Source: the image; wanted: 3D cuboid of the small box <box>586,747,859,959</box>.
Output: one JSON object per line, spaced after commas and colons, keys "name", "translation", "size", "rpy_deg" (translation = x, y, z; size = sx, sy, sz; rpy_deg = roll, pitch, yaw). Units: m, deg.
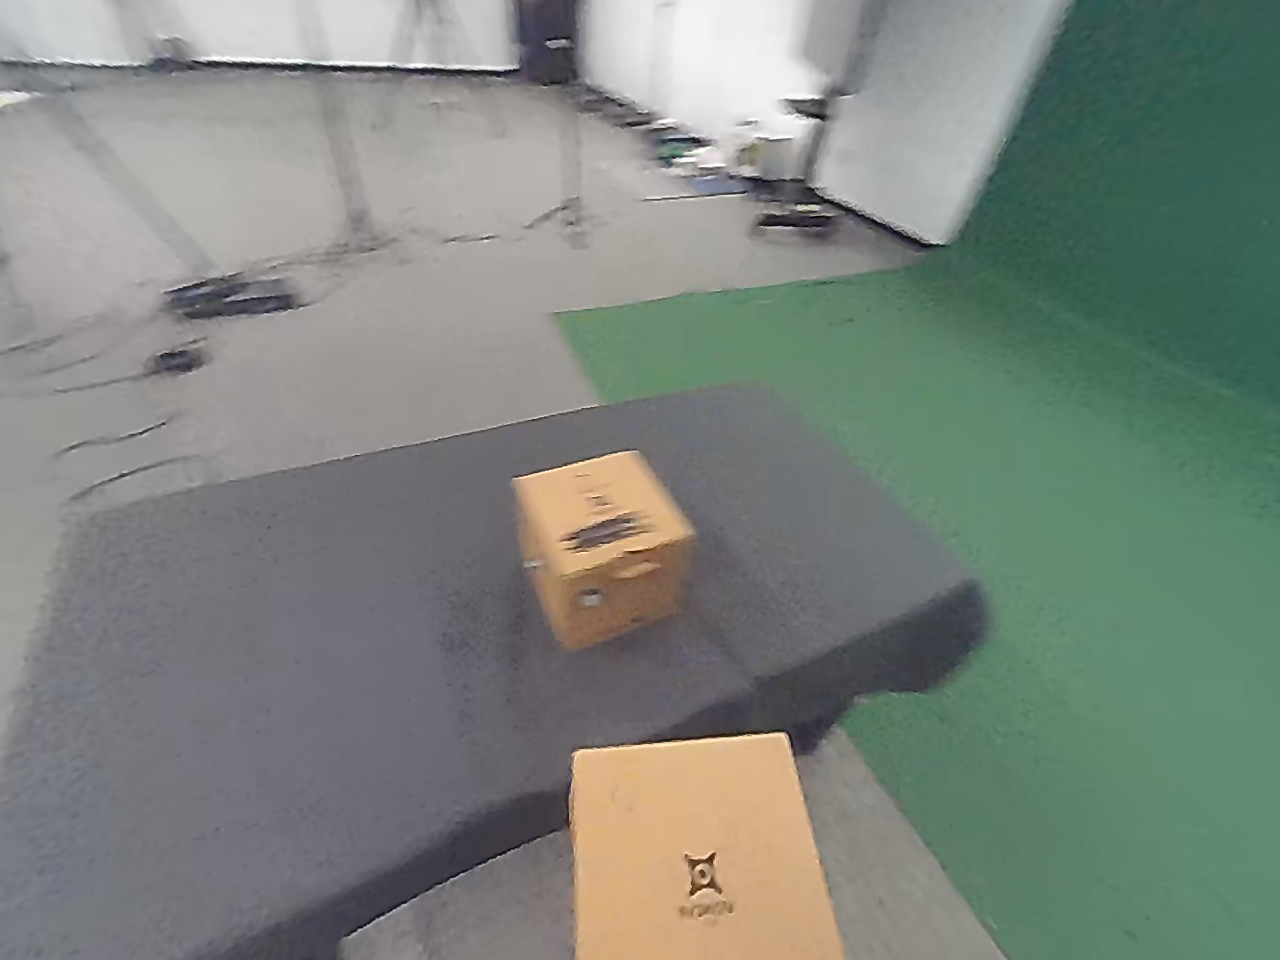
{"name": "small box", "translation": [0.044, 0.321, 0.409], "size": [0.168, 0.176, 0.179], "rpy_deg": [0, 50, -7]}
